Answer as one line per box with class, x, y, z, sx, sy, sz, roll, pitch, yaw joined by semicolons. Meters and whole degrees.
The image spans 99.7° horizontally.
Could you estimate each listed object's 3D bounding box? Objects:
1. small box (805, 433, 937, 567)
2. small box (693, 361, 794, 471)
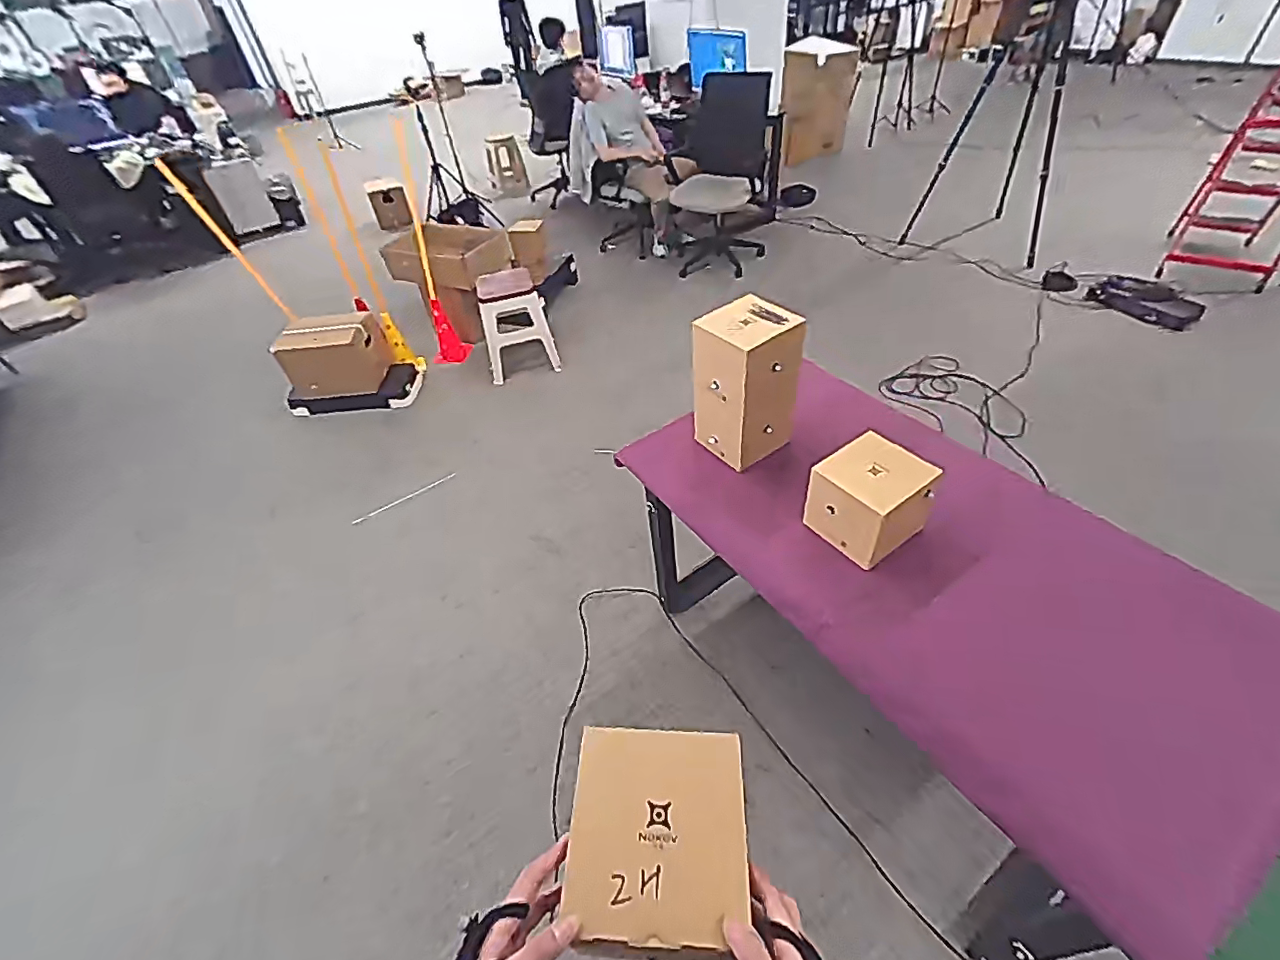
small box;0.450;0.041;1.083;0.179;0.176;0.168;-29;48;-22
small box;0.243;-0.154;1.305;0.179;0.176;0.168;-31;49;-22
